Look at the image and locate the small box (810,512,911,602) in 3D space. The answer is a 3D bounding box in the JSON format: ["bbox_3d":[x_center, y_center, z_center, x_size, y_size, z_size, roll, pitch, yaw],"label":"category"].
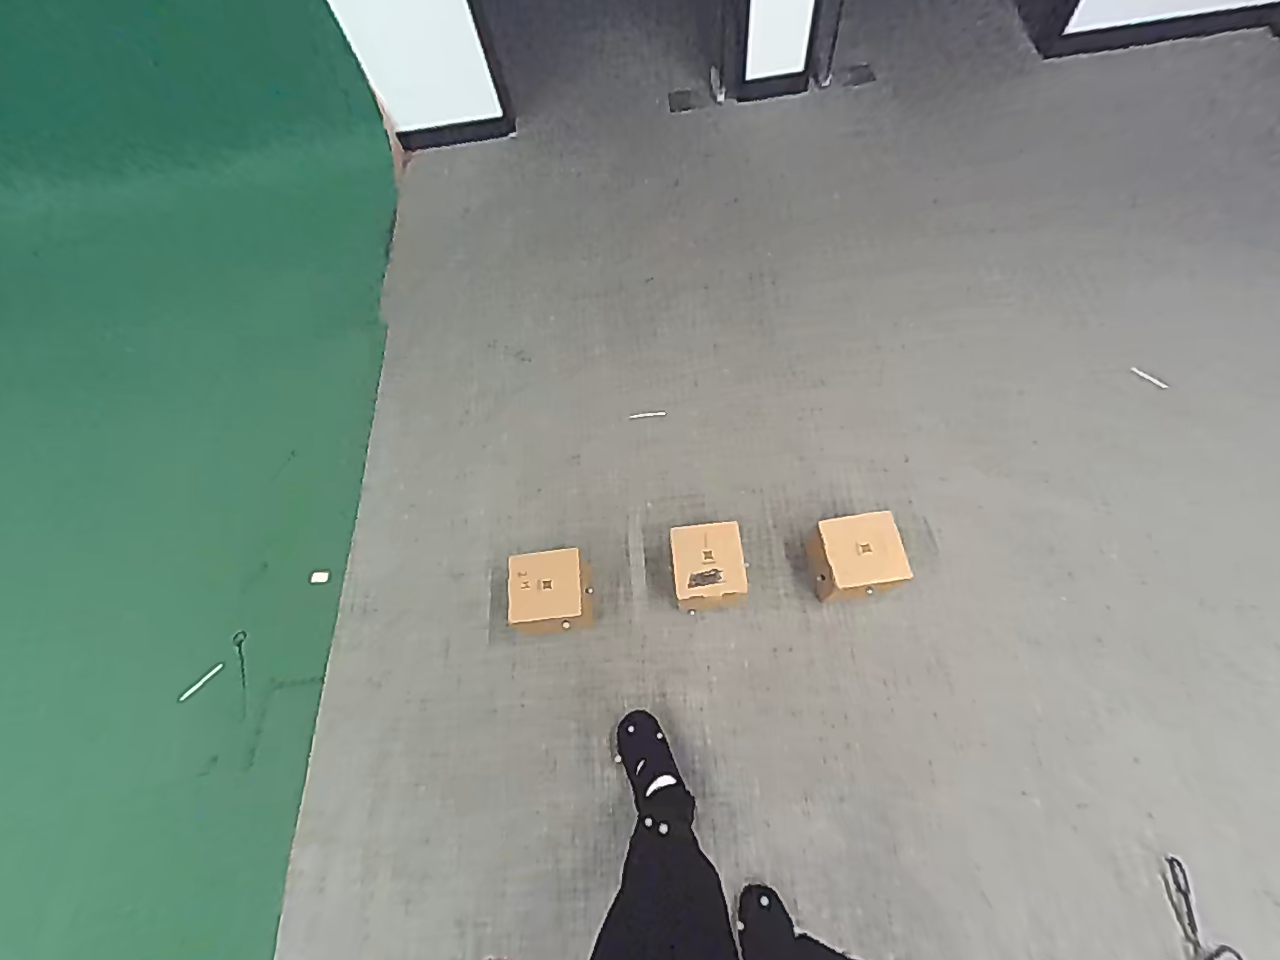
[{"bbox_3d":[0.522,0.192,1.314,0.179,0.176,0.168,-8,66,2],"label":"small box"}]

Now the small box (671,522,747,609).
[{"bbox_3d":[0.170,0.219,1.342,0.168,0.176,0.179,-6,65,4],"label":"small box"}]

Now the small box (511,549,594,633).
[{"bbox_3d":[-0.213,0.283,1.358,0.179,0.176,0.168,-7,65,3],"label":"small box"}]
